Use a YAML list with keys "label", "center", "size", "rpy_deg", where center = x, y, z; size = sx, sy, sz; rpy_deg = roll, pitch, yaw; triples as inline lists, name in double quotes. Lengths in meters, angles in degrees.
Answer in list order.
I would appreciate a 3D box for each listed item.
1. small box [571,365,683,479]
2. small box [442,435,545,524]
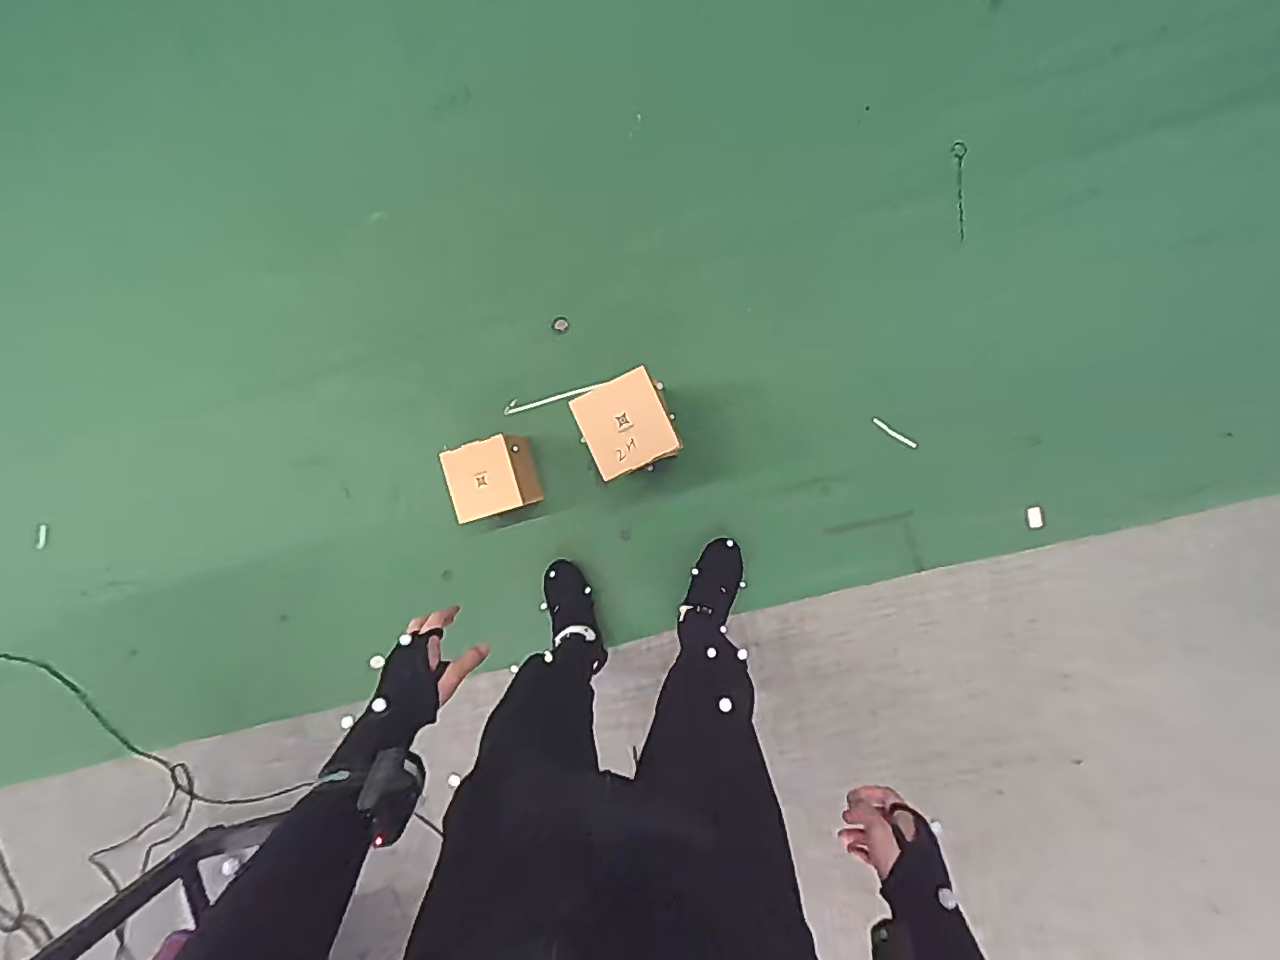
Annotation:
- label: "small box"
  center: [-0.020, -0.113, 1.118]
  size: [0.168, 0.176, 0.179]
  rpy_deg: [-25, 90, 9]
- label: "small box"
  center: [-0.352, -0.005, 1.335]
  size: [0.168, 0.176, 0.179]
  rpy_deg: [-17, 90, 8]
